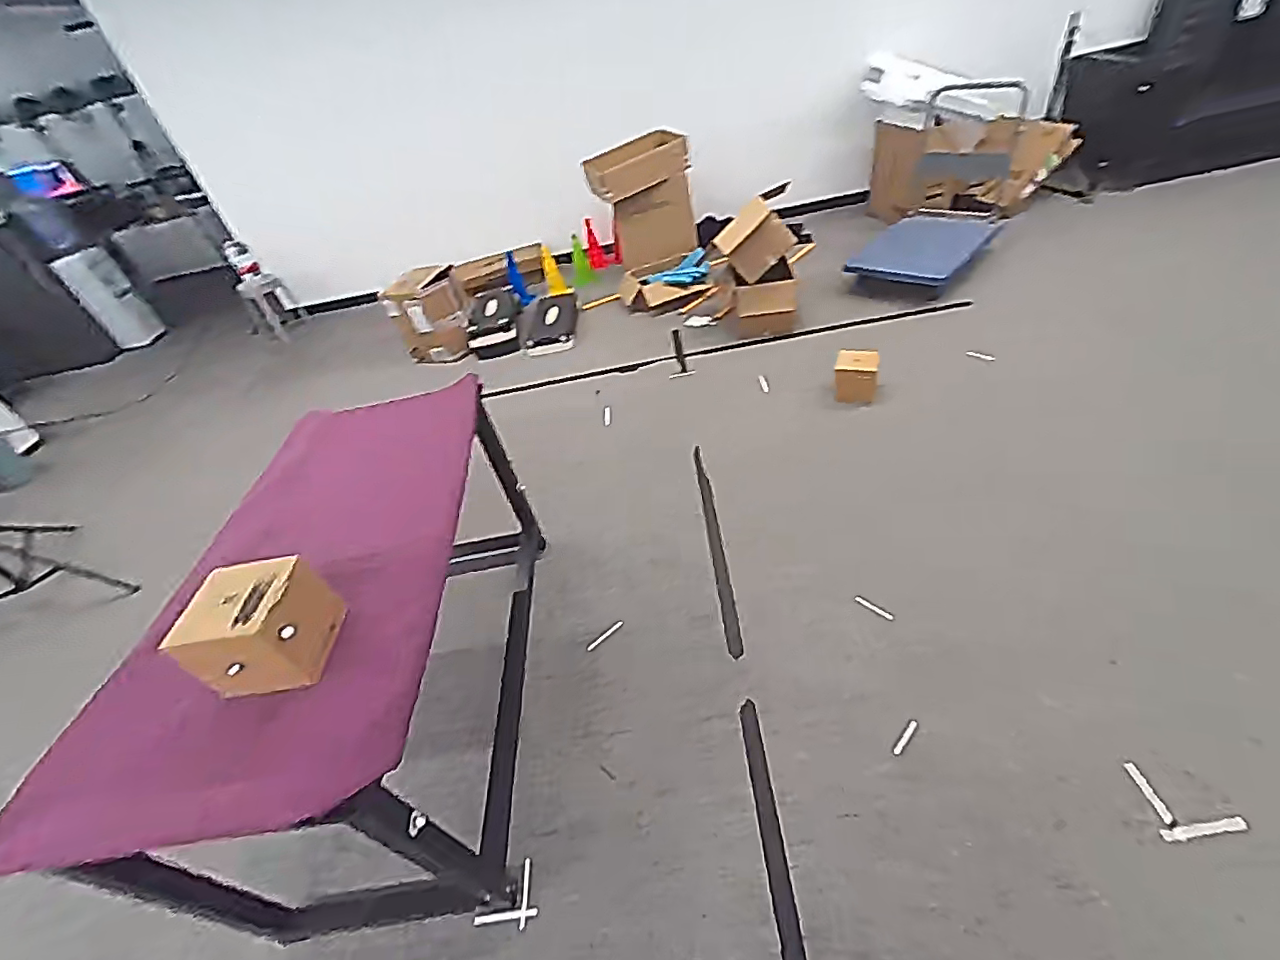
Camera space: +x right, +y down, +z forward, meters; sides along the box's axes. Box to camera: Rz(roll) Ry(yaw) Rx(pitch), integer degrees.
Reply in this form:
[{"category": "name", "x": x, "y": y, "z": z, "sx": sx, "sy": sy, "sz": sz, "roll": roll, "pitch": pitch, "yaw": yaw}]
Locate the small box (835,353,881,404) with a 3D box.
[{"category": "small box", "x": 0.999, "y": -0.466, "z": 2.483, "sx": 0.179, "sy": 0.176, "sz": 0.168, "roll": 8, "pitch": 45, "yaw": 23}]
